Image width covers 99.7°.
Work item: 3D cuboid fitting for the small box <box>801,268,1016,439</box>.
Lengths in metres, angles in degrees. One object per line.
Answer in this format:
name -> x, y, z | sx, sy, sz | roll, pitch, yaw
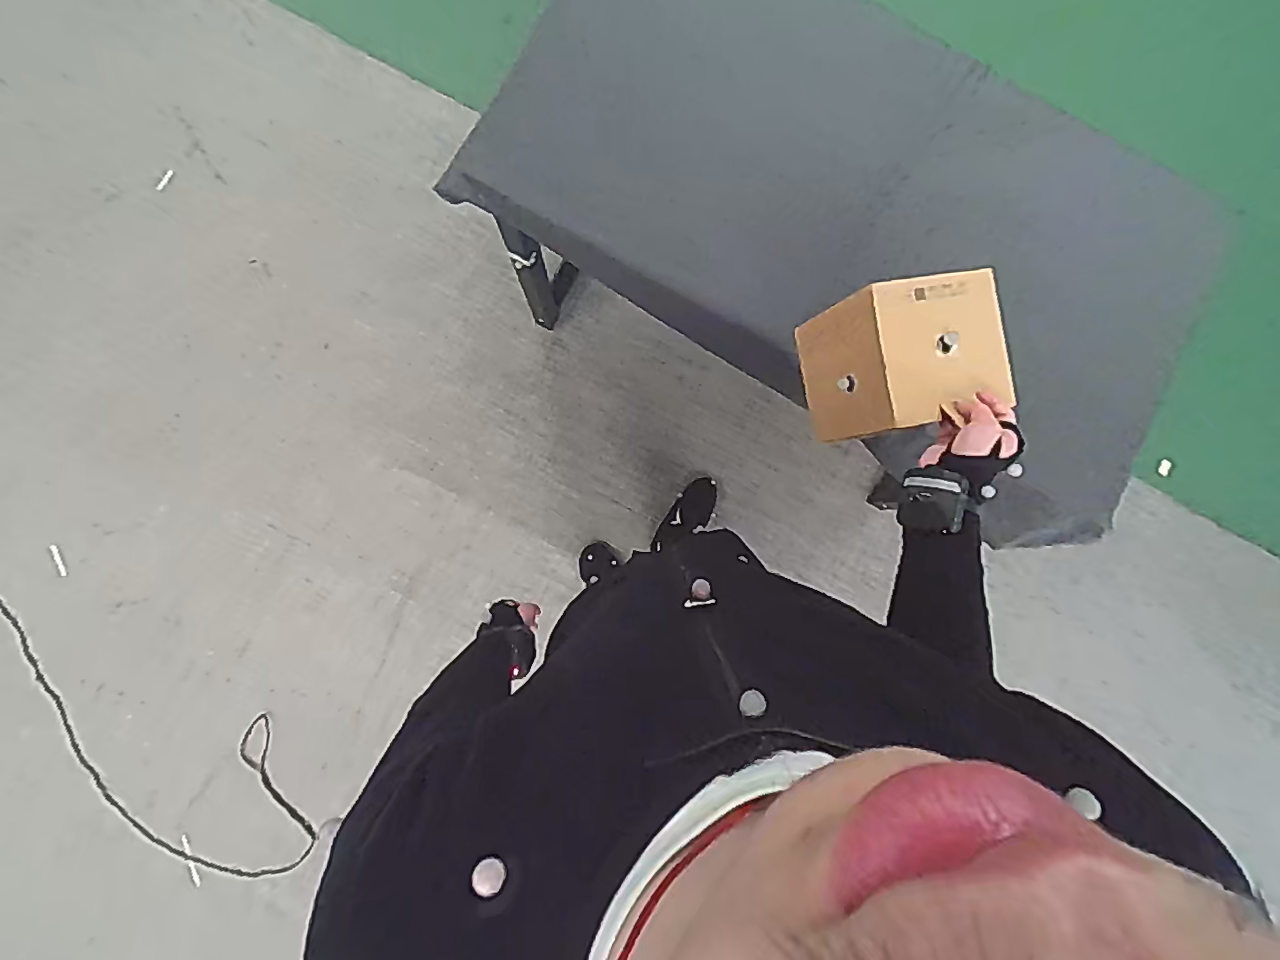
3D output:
small box -> 0.328, -0.160, 0.696 | 0.168, 0.179, 0.176 | -13, 92, -10
